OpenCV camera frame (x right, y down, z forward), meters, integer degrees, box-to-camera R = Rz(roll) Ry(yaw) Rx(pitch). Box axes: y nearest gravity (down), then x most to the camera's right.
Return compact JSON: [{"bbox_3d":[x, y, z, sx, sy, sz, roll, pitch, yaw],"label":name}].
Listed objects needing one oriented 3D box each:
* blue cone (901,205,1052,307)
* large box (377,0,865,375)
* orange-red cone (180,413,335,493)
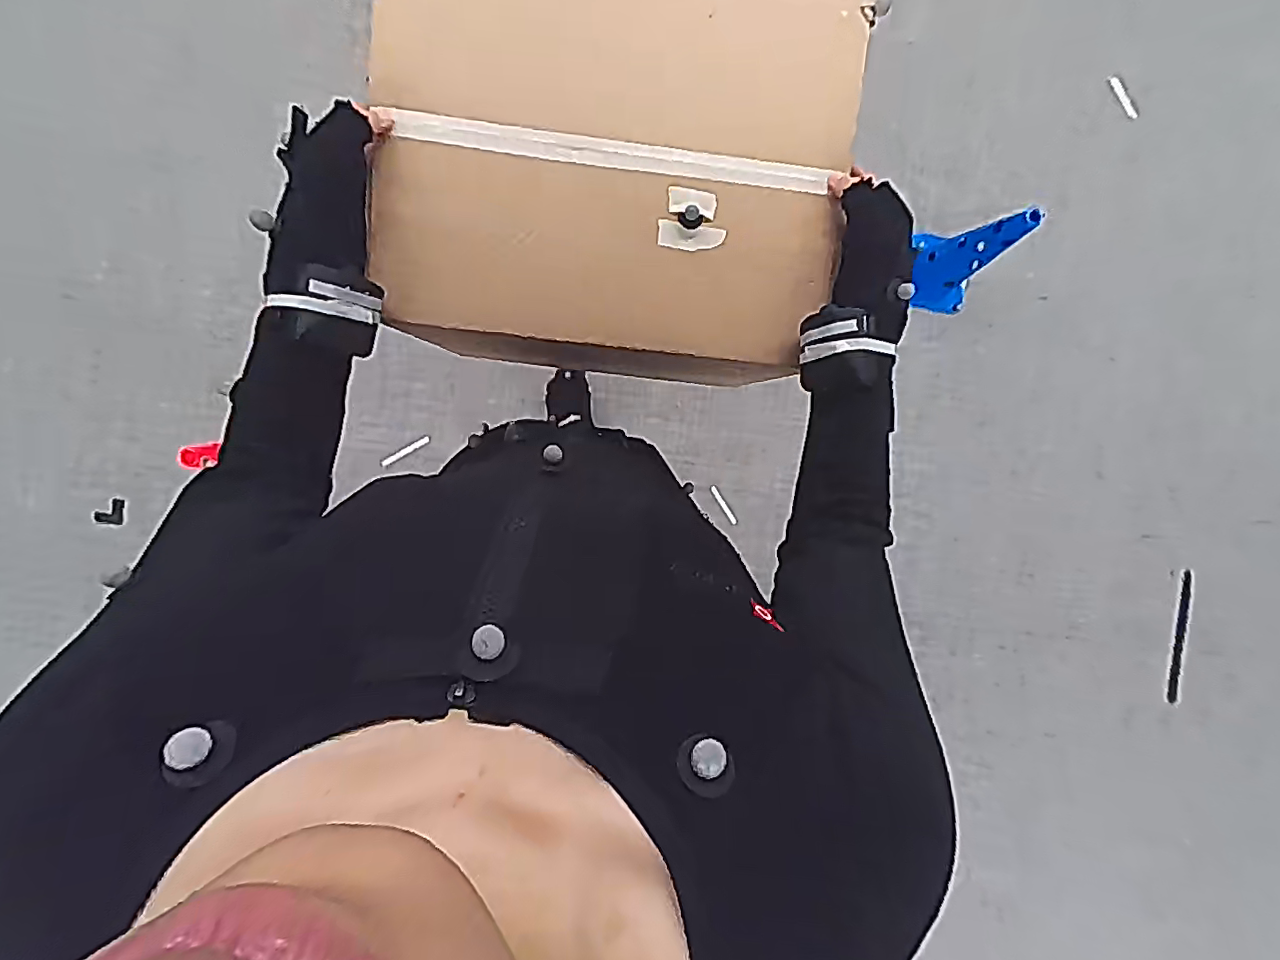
[{"bbox_3d":[0.828,-0.573,1.322,0.192,0.380,0.193,10,92,-5],"label":"blue cone"},{"bbox_3d":[-0.029,-0.301,0.608,0.408,0.320,0.320,5,97,-6],"label":"large box"},{"bbox_3d":[-0.883,-0.057,1.226,0.198,0.360,0.199,5,94,-3],"label":"orange-red cone"}]
